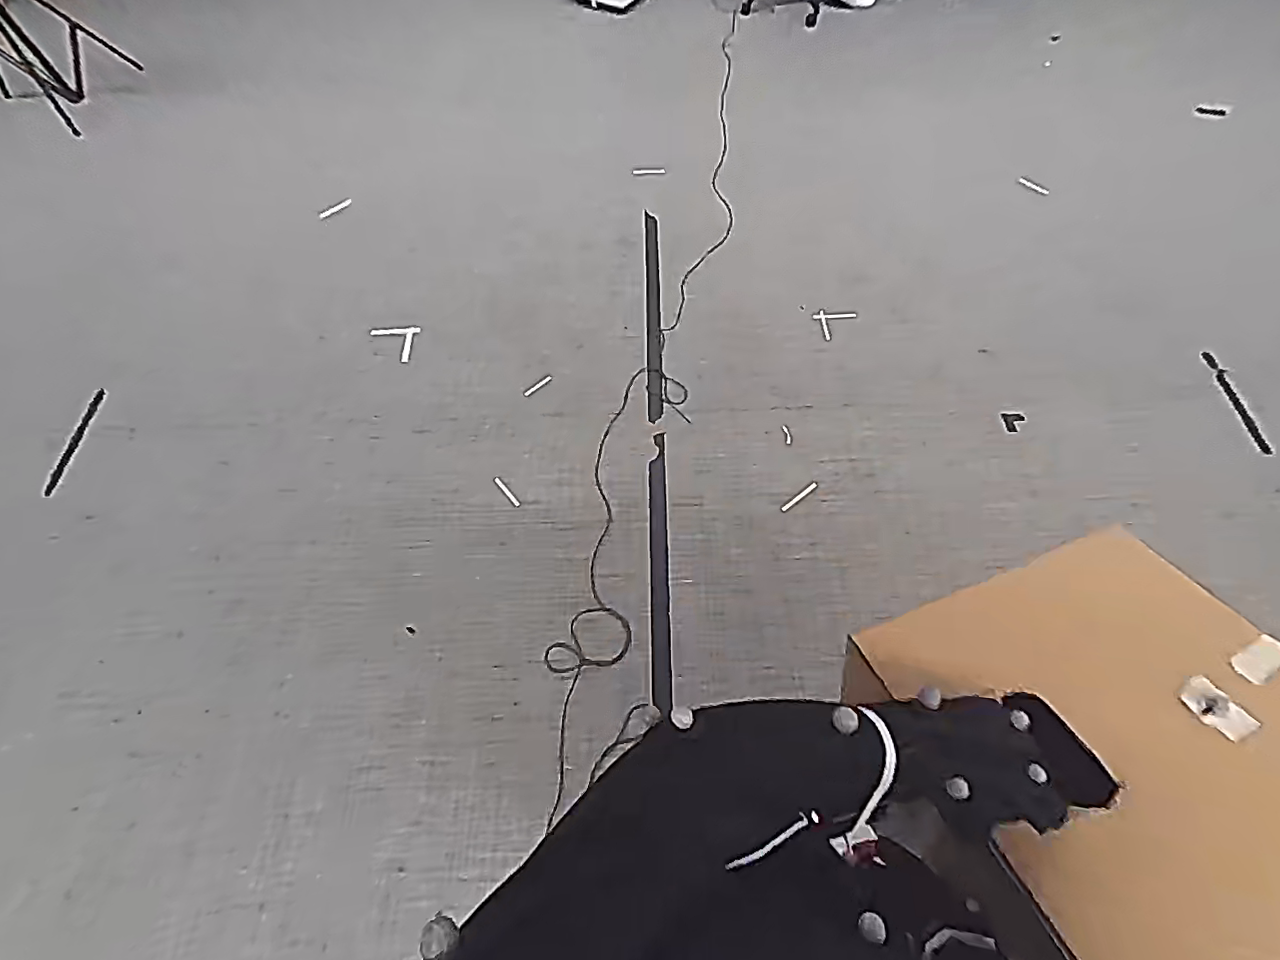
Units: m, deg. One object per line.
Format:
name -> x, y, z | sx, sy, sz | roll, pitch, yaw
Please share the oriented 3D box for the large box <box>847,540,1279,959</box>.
large box -> 0.455, 0.341, 0.594 | 0.320, 0.408, 0.320 | -23, 45, -2
